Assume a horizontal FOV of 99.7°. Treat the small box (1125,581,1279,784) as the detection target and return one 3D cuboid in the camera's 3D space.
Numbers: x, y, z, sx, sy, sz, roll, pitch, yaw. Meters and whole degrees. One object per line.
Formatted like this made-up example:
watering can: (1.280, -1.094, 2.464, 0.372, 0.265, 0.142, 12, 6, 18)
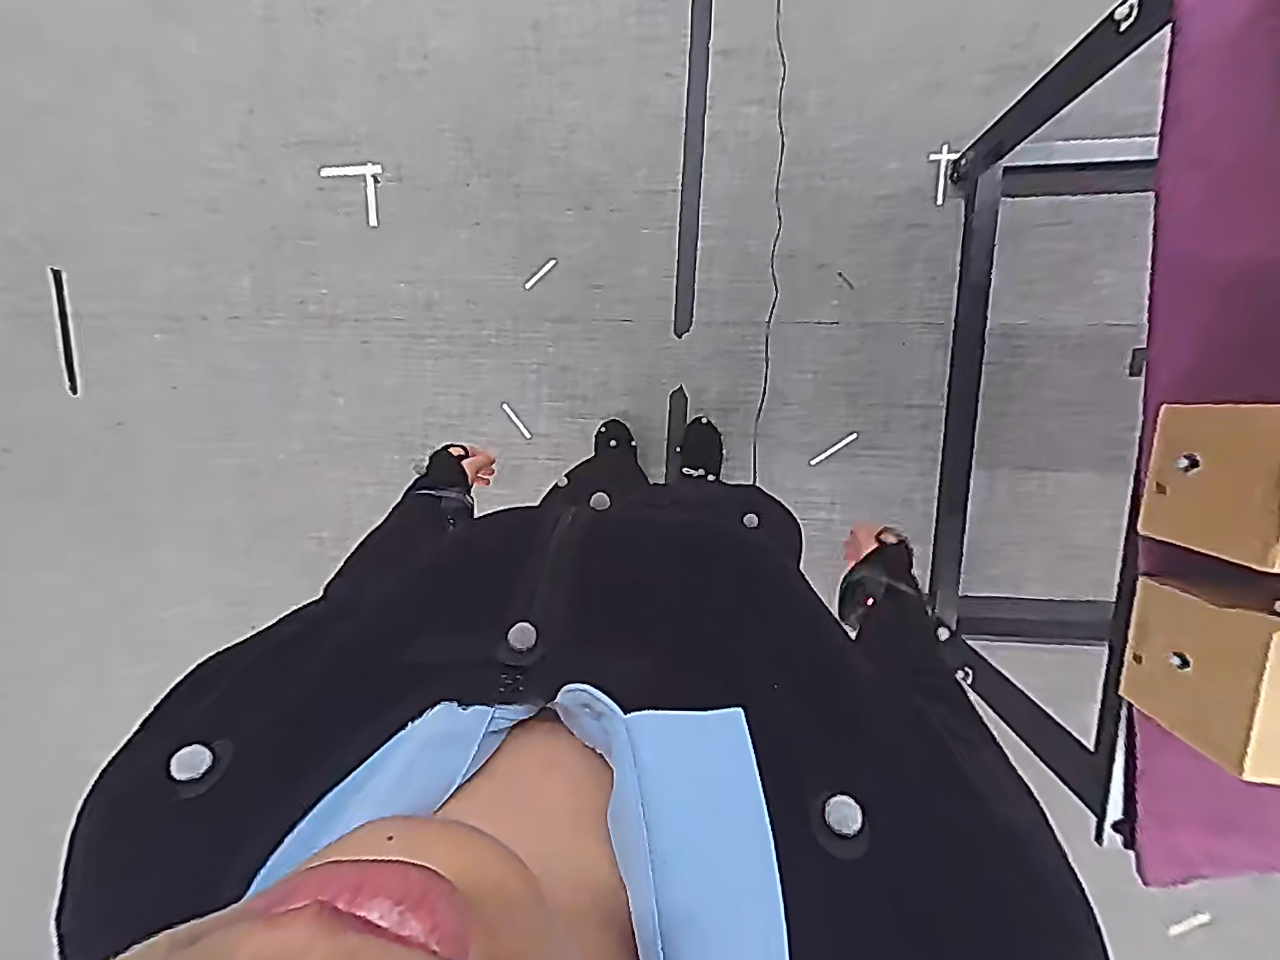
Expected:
small box: (0.711, 0.220, 0.612, 0.179, 0.176, 0.168, 3, 99, 5)
